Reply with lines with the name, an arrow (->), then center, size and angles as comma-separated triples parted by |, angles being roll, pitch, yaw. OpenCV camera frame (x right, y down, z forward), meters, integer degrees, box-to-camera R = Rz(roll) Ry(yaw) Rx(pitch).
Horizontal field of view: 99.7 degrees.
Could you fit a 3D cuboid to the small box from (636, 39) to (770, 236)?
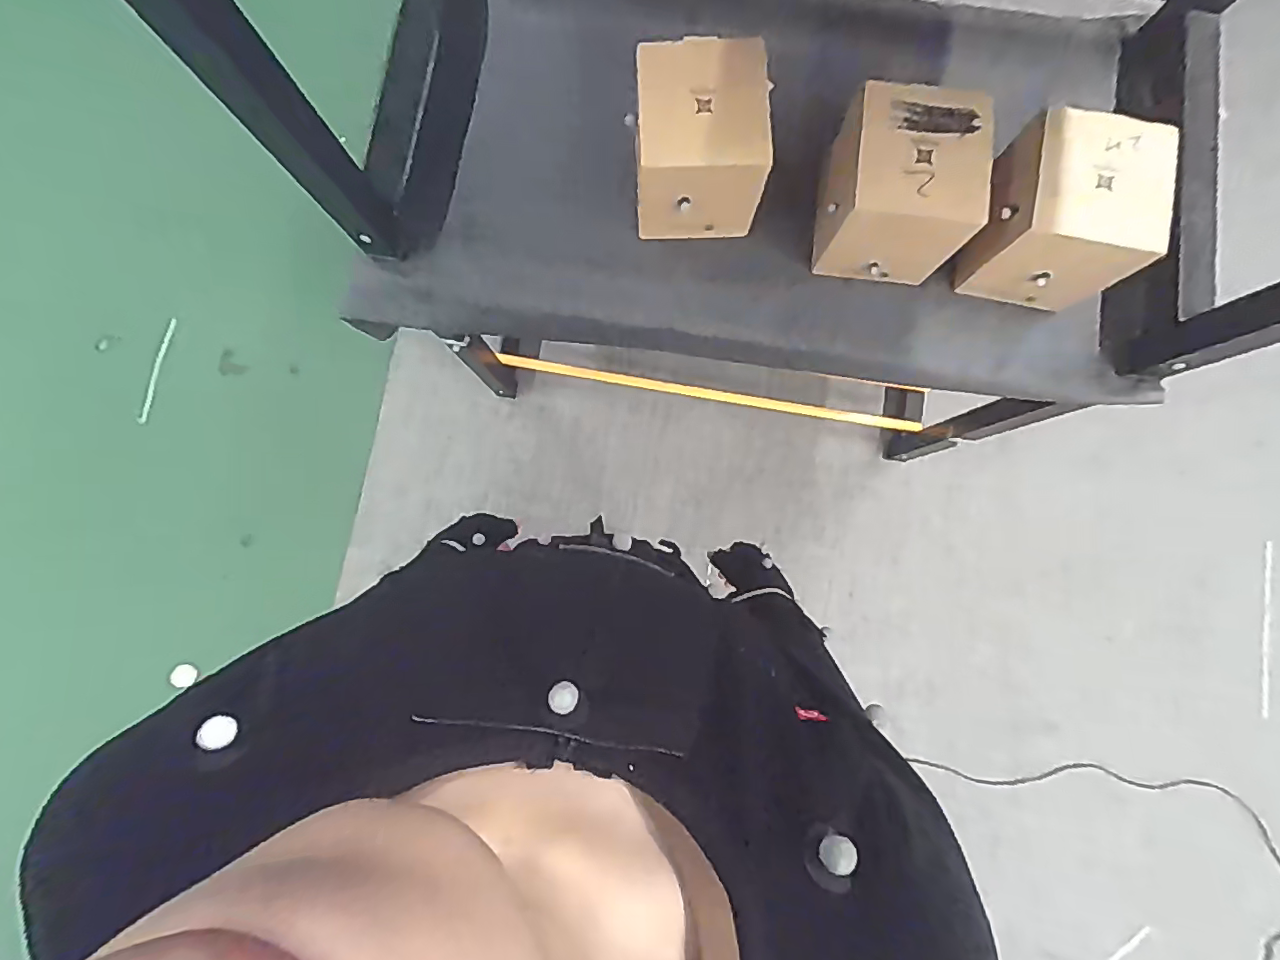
small box -> 0.080, -0.463, 0.758 | 0.168, 0.176, 0.179 | -2, 83, -1
